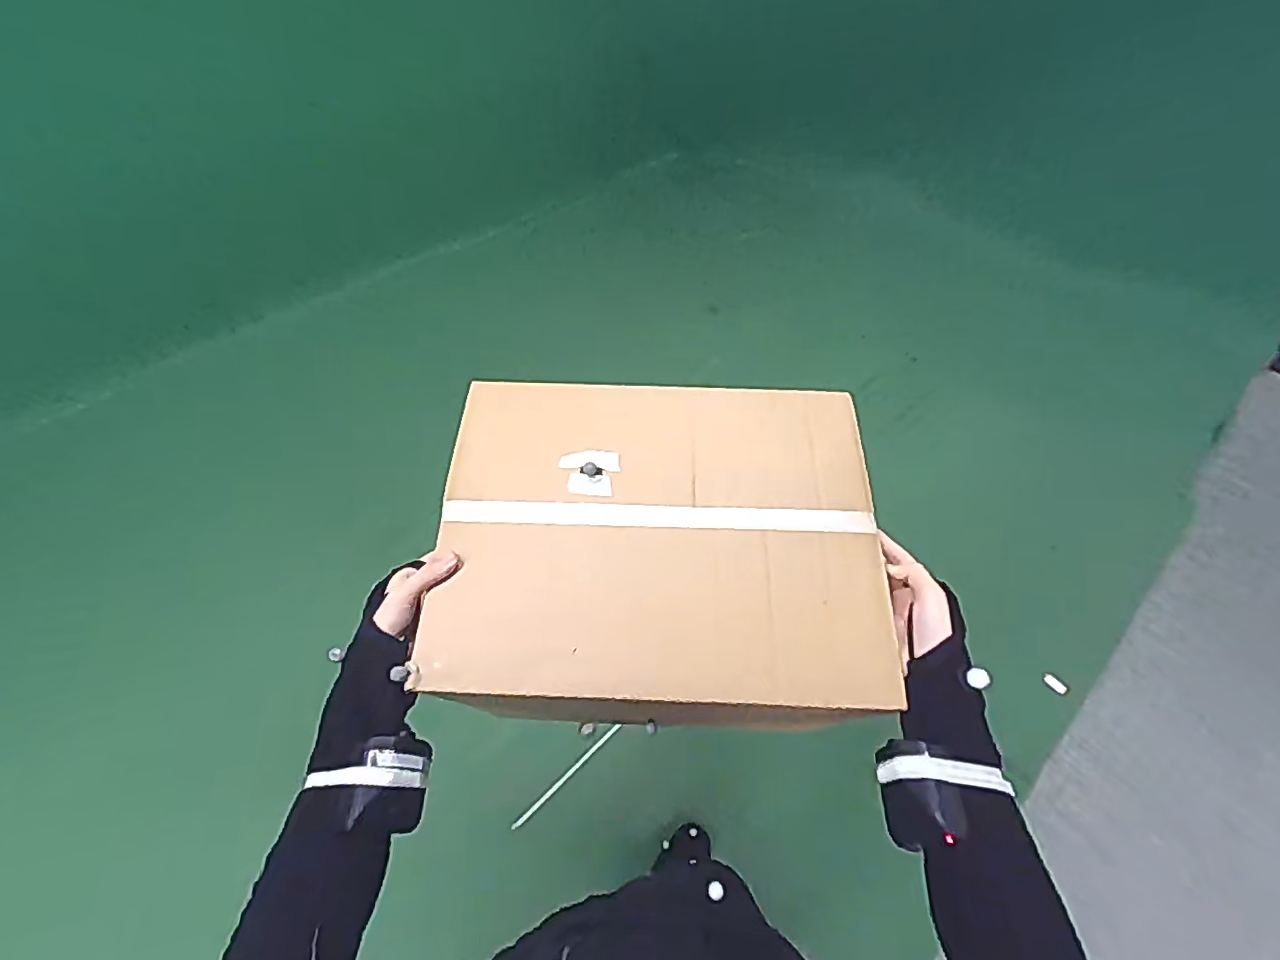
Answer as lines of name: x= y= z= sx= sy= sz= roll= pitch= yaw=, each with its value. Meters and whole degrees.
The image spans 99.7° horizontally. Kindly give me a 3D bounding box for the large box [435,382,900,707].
large box: x=0.032 y=0.098 z=0.656 sx=0.408 sy=0.320 sz=0.320 roll=2 pitch=63 yaw=3
